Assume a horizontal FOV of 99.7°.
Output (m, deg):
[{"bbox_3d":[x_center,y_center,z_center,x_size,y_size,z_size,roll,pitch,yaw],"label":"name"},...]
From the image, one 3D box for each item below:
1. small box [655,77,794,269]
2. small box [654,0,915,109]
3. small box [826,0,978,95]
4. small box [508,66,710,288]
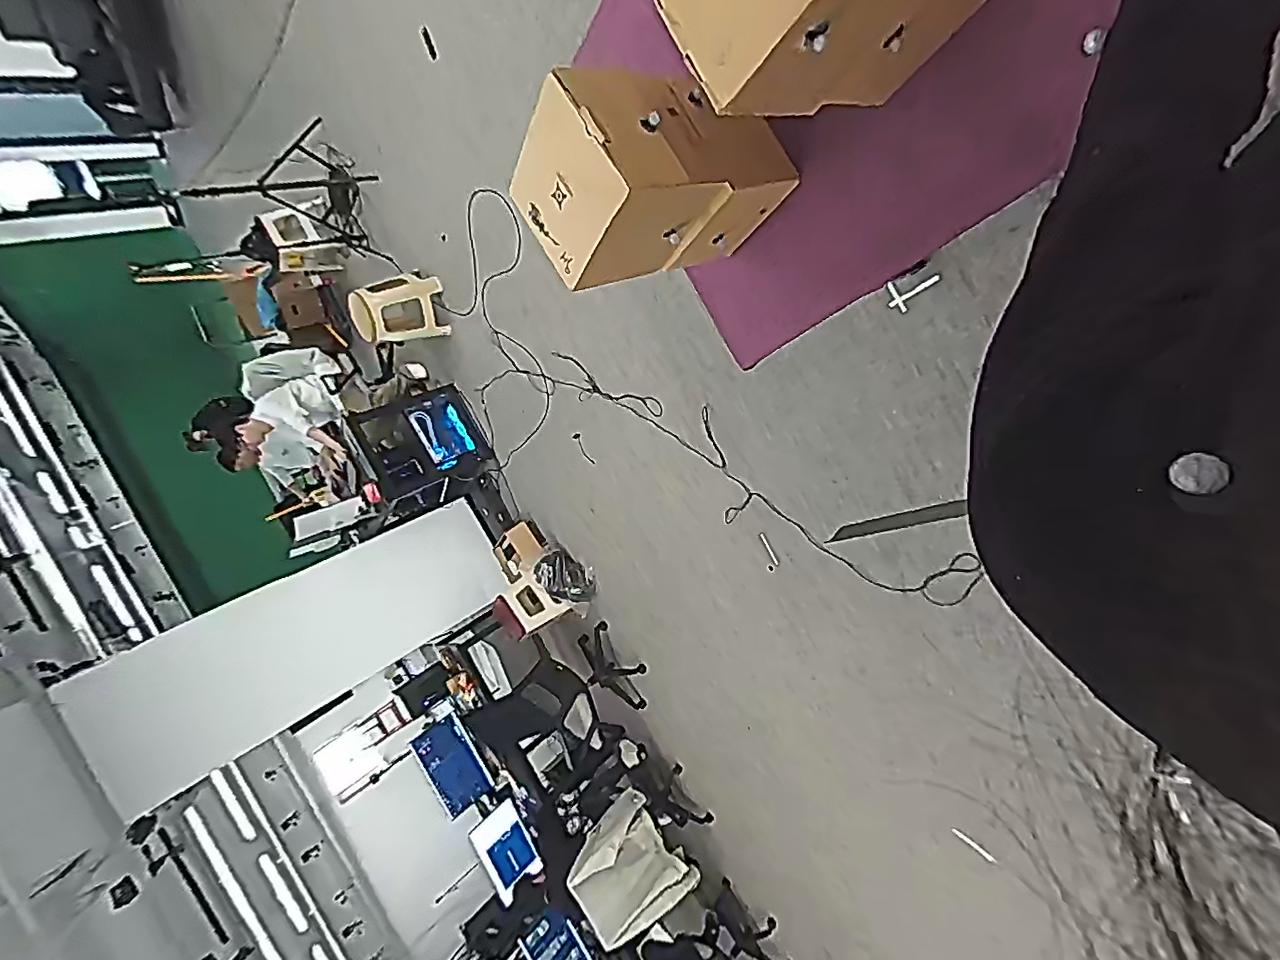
[{"bbox_3d":[0.087,-0.442,0.783,0.179,0.176,0.168,60,144,2],"label":"small box"},{"bbox_3d":[0.128,-0.447,0.449,0.179,0.176,0.168,-26,94,53],"label":"small box"},{"bbox_3d":[0.237,-0.524,0.542,0.179,0.176,0.168,-31,89,54],"label":"small box"},{"bbox_3d":[-0.035,-0.380,0.692,0.168,0.176,0.179,59,144,4],"label":"small box"}]
